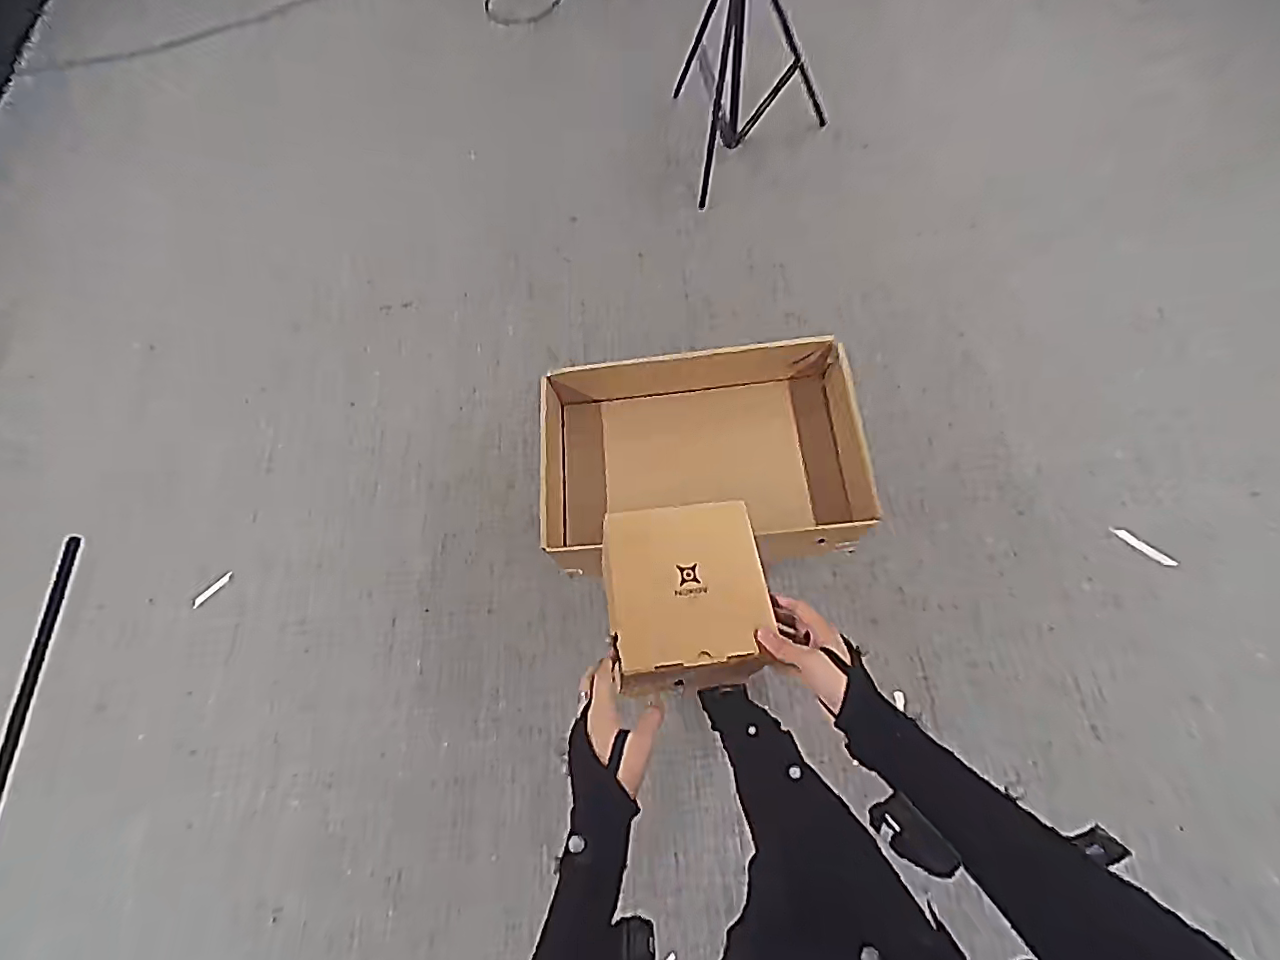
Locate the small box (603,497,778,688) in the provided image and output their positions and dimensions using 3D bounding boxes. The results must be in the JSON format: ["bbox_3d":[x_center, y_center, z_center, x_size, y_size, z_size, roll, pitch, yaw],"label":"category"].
[{"bbox_3d":[0.045,0.140,0.656,0.168,0.176,0.179,-6,62,-8],"label":"small box"}]
